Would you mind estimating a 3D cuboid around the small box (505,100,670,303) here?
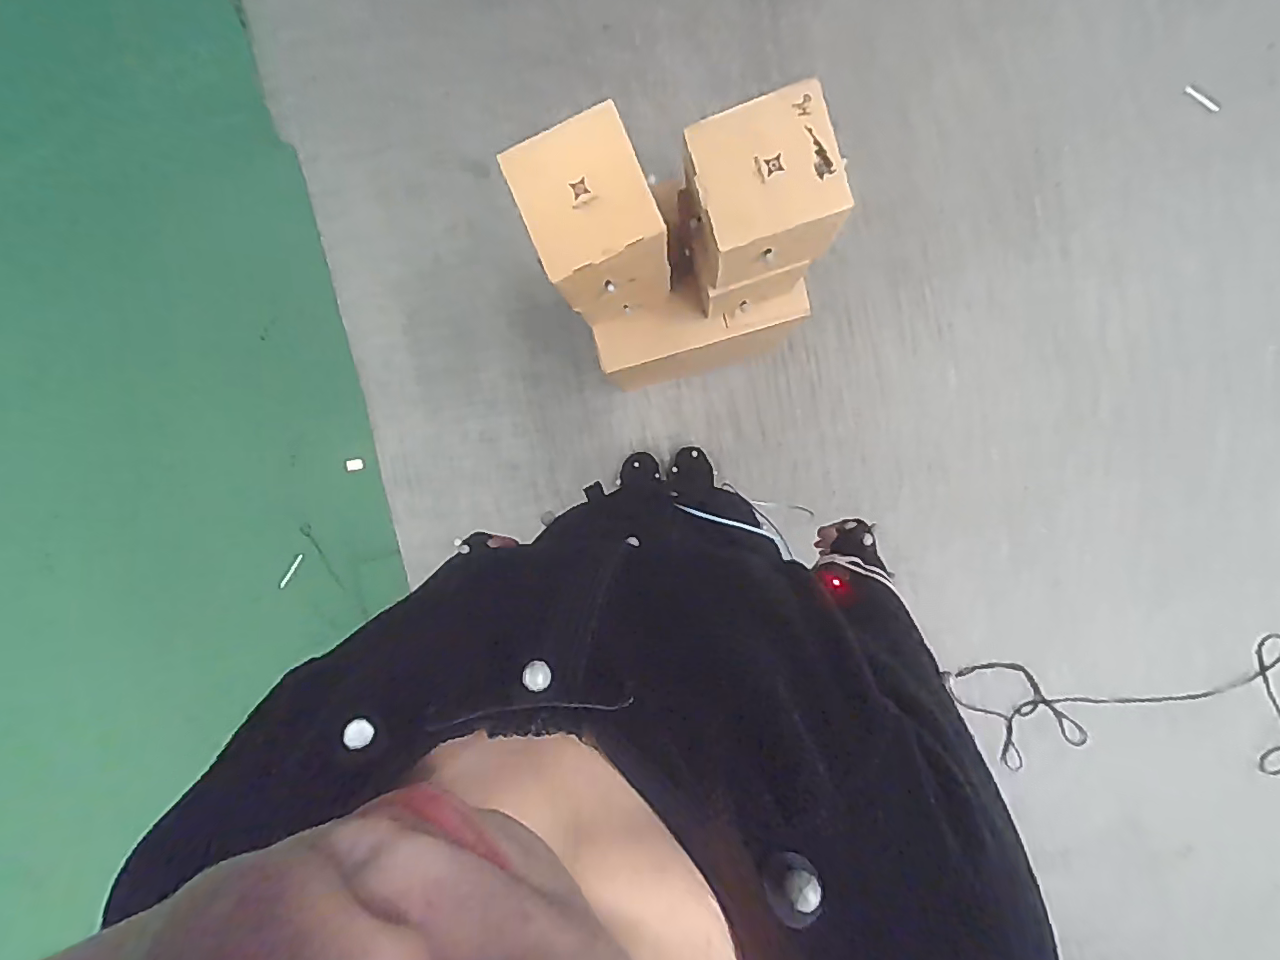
[{"bbox_3d":[-0.066,-0.381,0.774,0.168,0.176,0.179,-23,94,4],"label":"small box"}]
